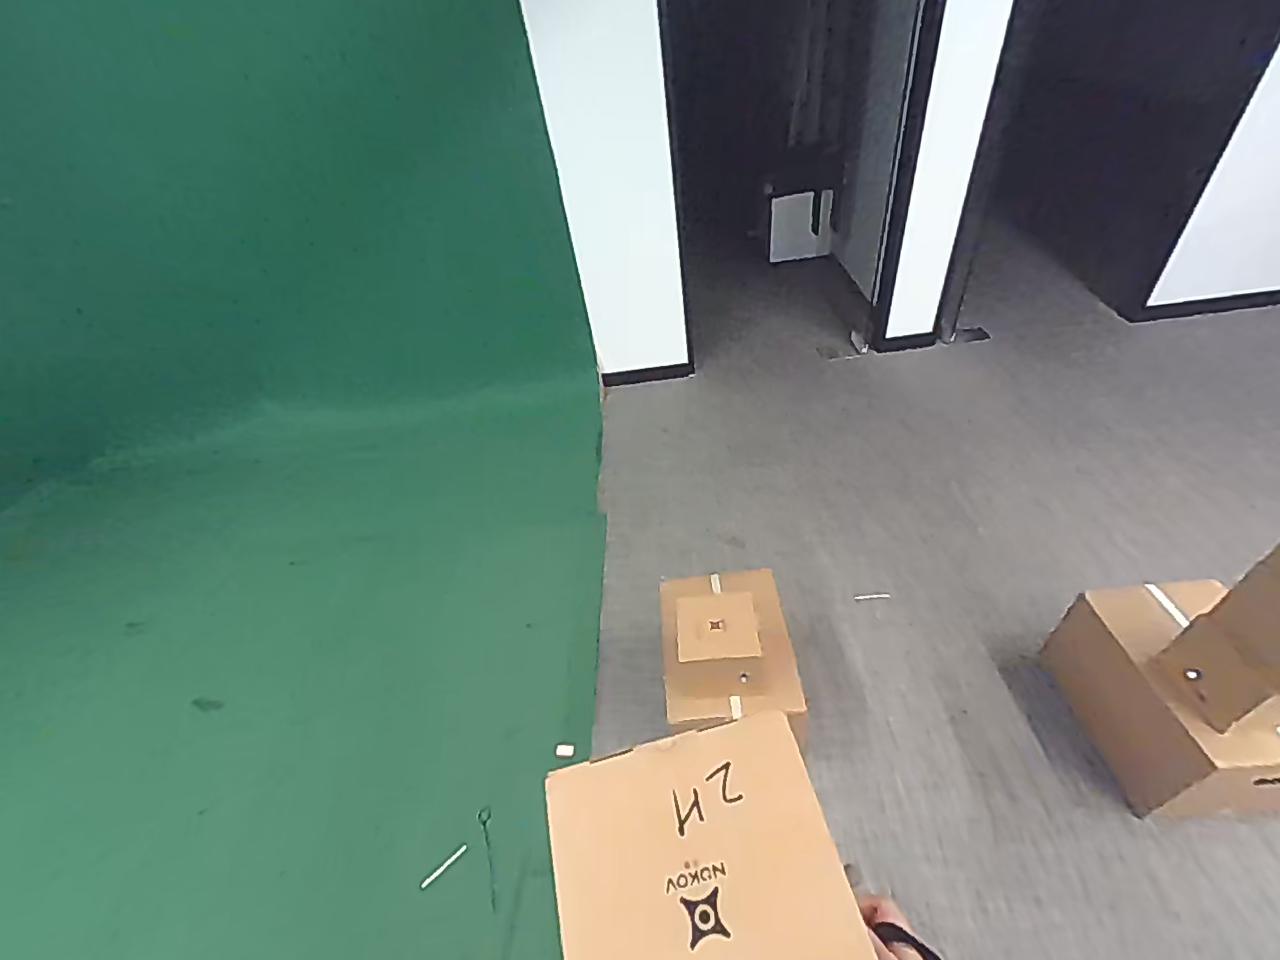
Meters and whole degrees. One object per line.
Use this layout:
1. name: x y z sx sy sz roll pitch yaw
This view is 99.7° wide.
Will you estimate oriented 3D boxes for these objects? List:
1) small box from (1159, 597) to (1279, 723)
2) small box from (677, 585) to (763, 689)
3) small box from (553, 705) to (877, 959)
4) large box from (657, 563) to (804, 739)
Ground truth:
1. small box: 1.188 0.350 1.050 0.179 0.176 0.168 -9 43 4
2. small box: 0.182 0.360 1.233 0.179 0.176 0.168 -6 42 8
3. small box: 0.049 0.284 0.376 0.168 0.176 0.179 -14 53 -2
4. large box: 0.228 0.490 1.448 0.320 0.320 0.408 -7 42 4
